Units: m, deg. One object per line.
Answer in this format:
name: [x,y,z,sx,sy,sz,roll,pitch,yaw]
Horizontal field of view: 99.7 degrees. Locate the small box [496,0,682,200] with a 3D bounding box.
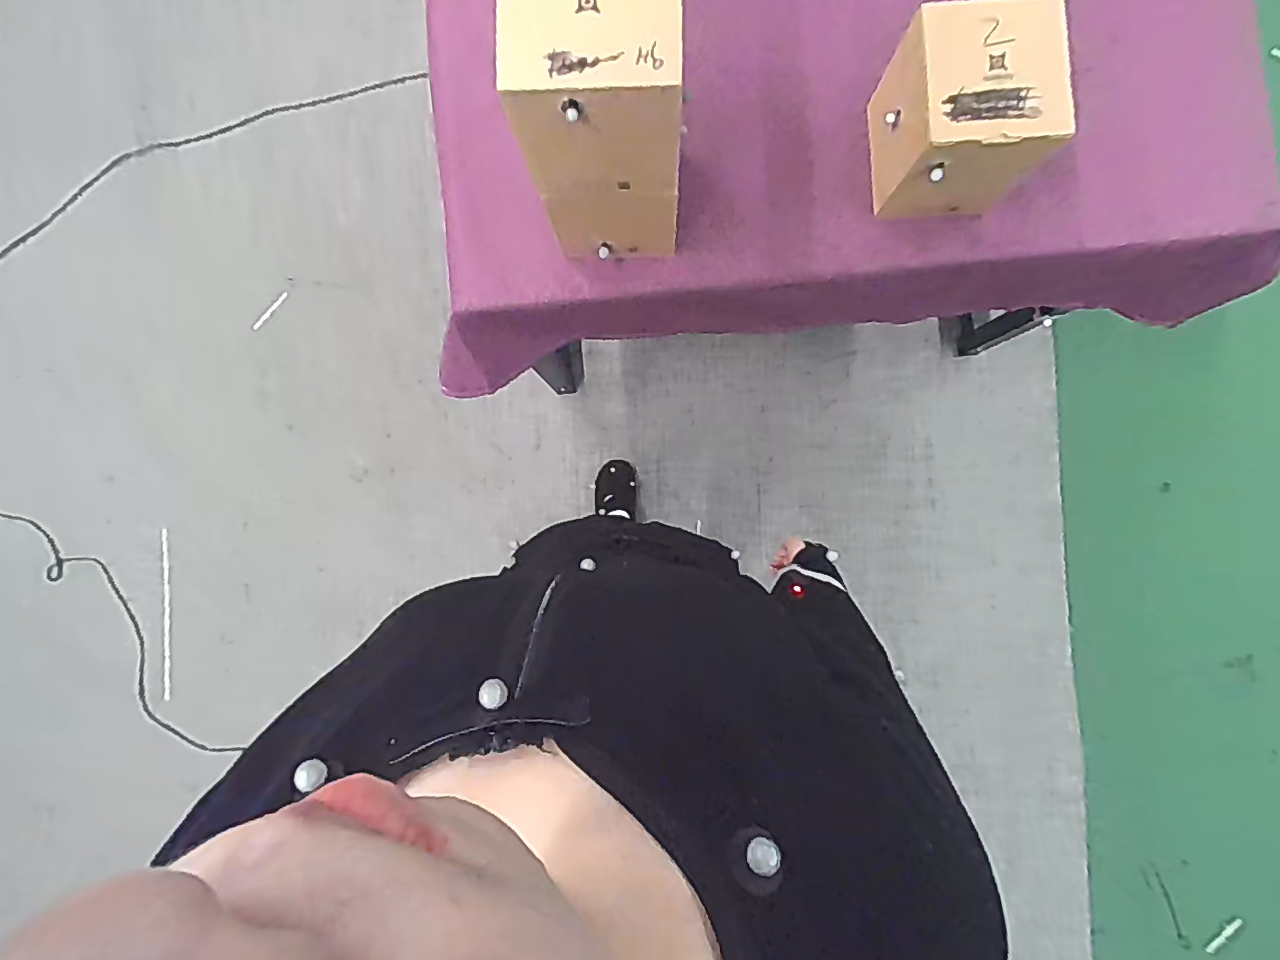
small box: [-0.041,-0.422,0.560,0.168,0.176,0.179,0,87,4]

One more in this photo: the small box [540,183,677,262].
small box: [-0.034,-0.415,0.725,0.168,0.176,0.179,0,88,3]
